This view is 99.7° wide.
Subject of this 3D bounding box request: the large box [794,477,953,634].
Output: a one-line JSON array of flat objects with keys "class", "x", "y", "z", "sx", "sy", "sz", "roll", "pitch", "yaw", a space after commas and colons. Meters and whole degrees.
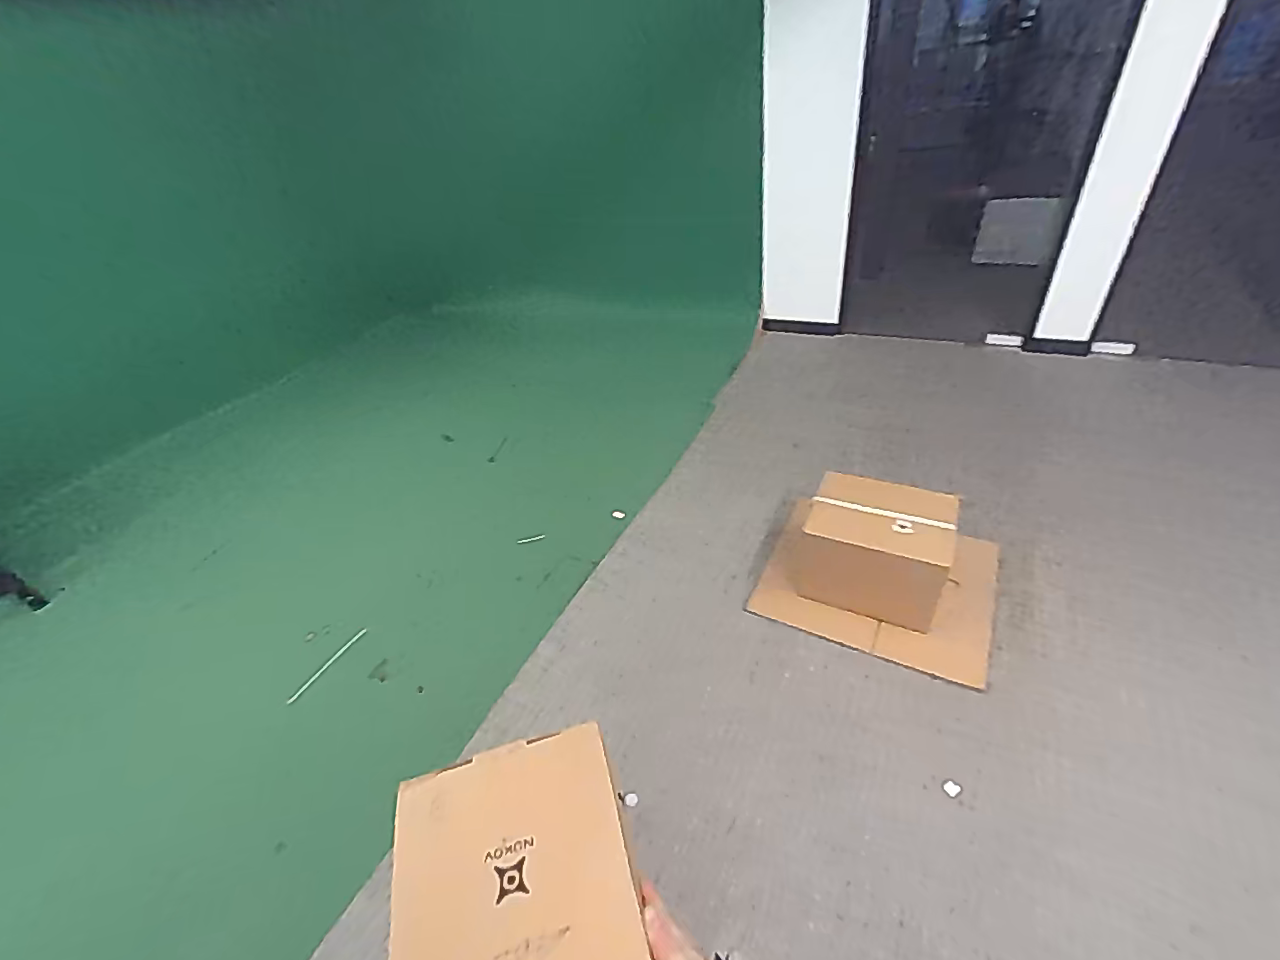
[{"class": "large box", "x": 0.738, "y": 0.234, "z": 1.740, "sx": 0.408, "sy": 0.320, "sz": 0.320, "roll": 14, "pitch": 44, "yaw": 25}]
